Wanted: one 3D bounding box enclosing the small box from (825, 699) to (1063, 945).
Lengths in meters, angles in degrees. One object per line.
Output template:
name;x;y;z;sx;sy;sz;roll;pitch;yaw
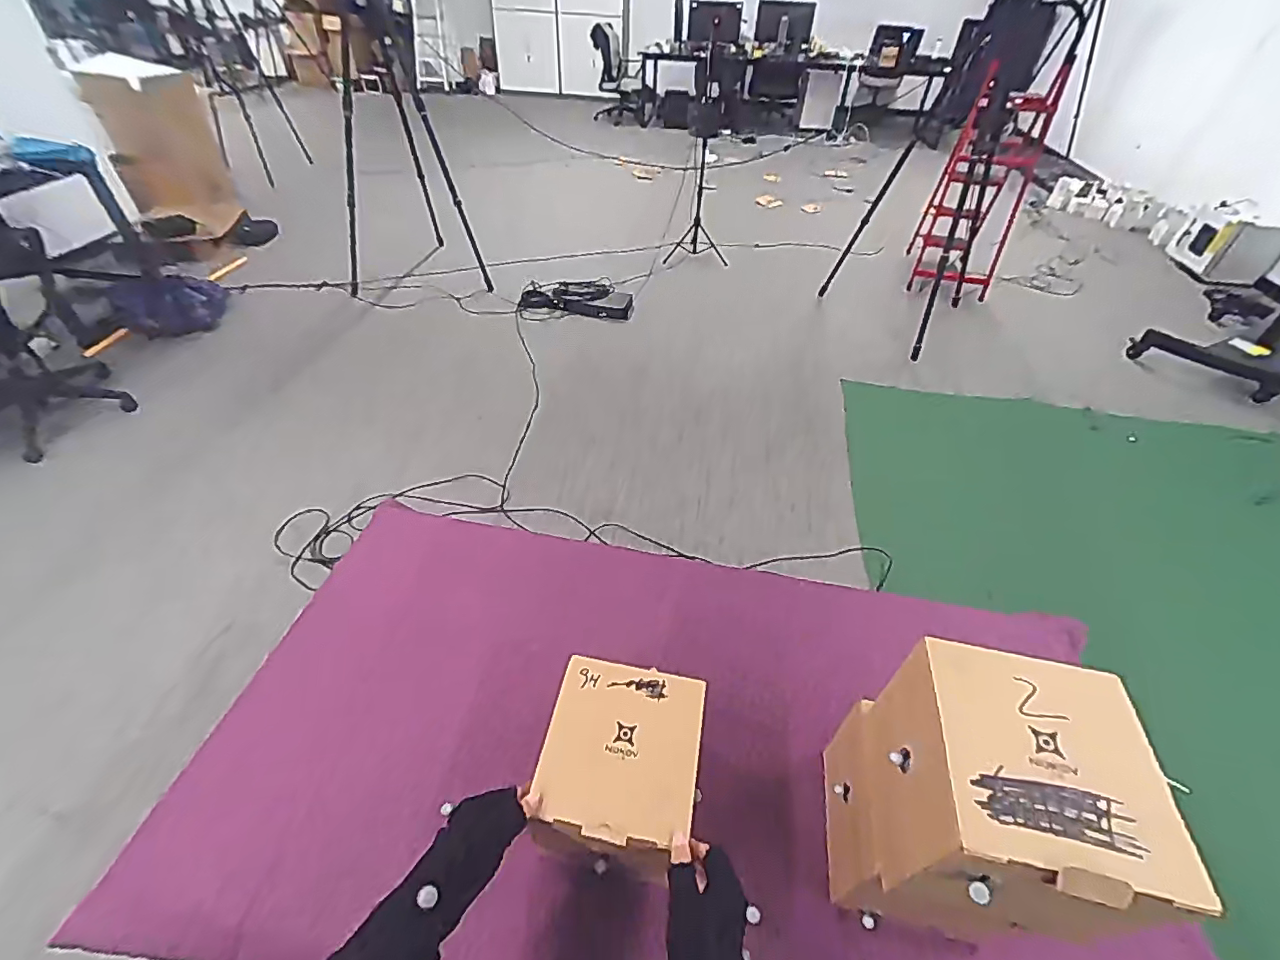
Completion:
small box;0.314;0.382;0.602;0.168;0.176;0.179;13;45;8

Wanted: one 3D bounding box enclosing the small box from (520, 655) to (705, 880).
small box;-0.024;0.337;0.632;0.168;0.176;0.179;10;46;6
